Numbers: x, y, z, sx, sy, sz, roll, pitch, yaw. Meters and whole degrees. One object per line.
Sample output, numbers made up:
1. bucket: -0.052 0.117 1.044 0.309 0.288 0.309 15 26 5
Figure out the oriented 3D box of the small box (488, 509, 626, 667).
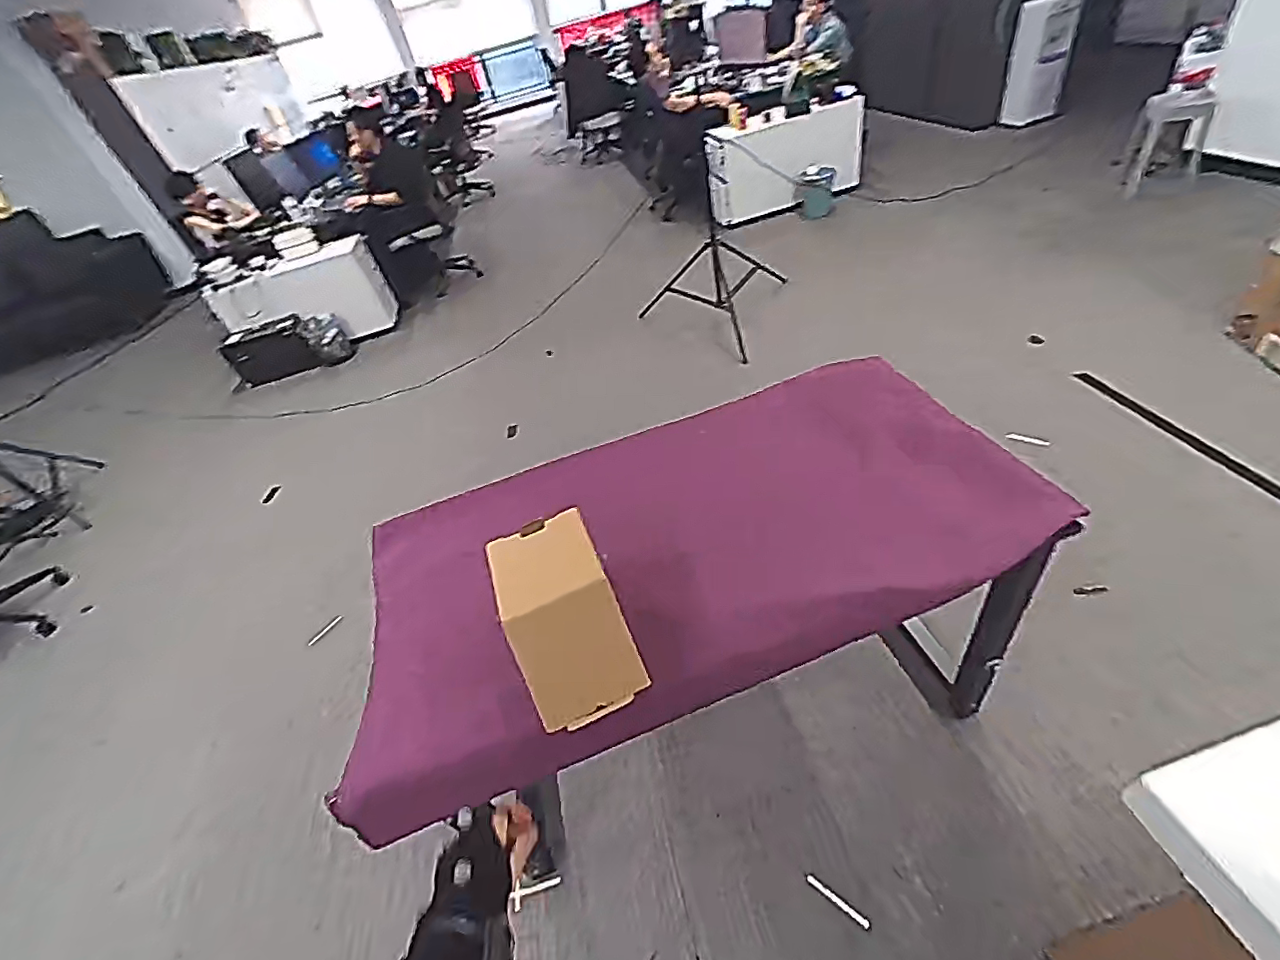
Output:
1. small box: -0.136 0.187 0.908 0.168 0.176 0.179 -22 40 -7
